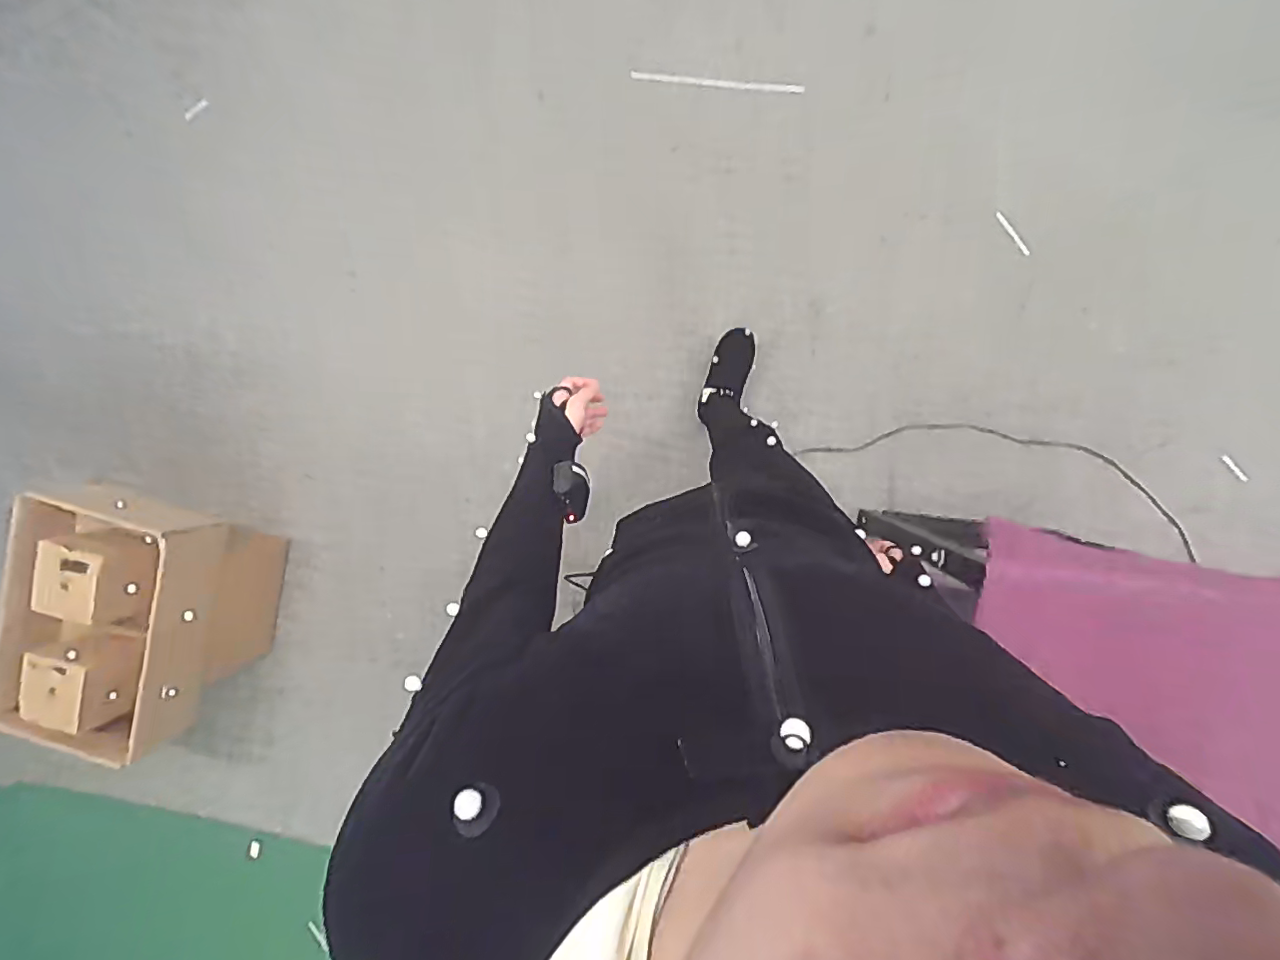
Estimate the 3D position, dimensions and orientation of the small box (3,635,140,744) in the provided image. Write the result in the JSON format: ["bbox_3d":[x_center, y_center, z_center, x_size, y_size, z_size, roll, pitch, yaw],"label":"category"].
[{"bbox_3d":[-1.401,0.512,1.343,0.168,0.176,0.179,13,96,4],"label":"small box"}]
